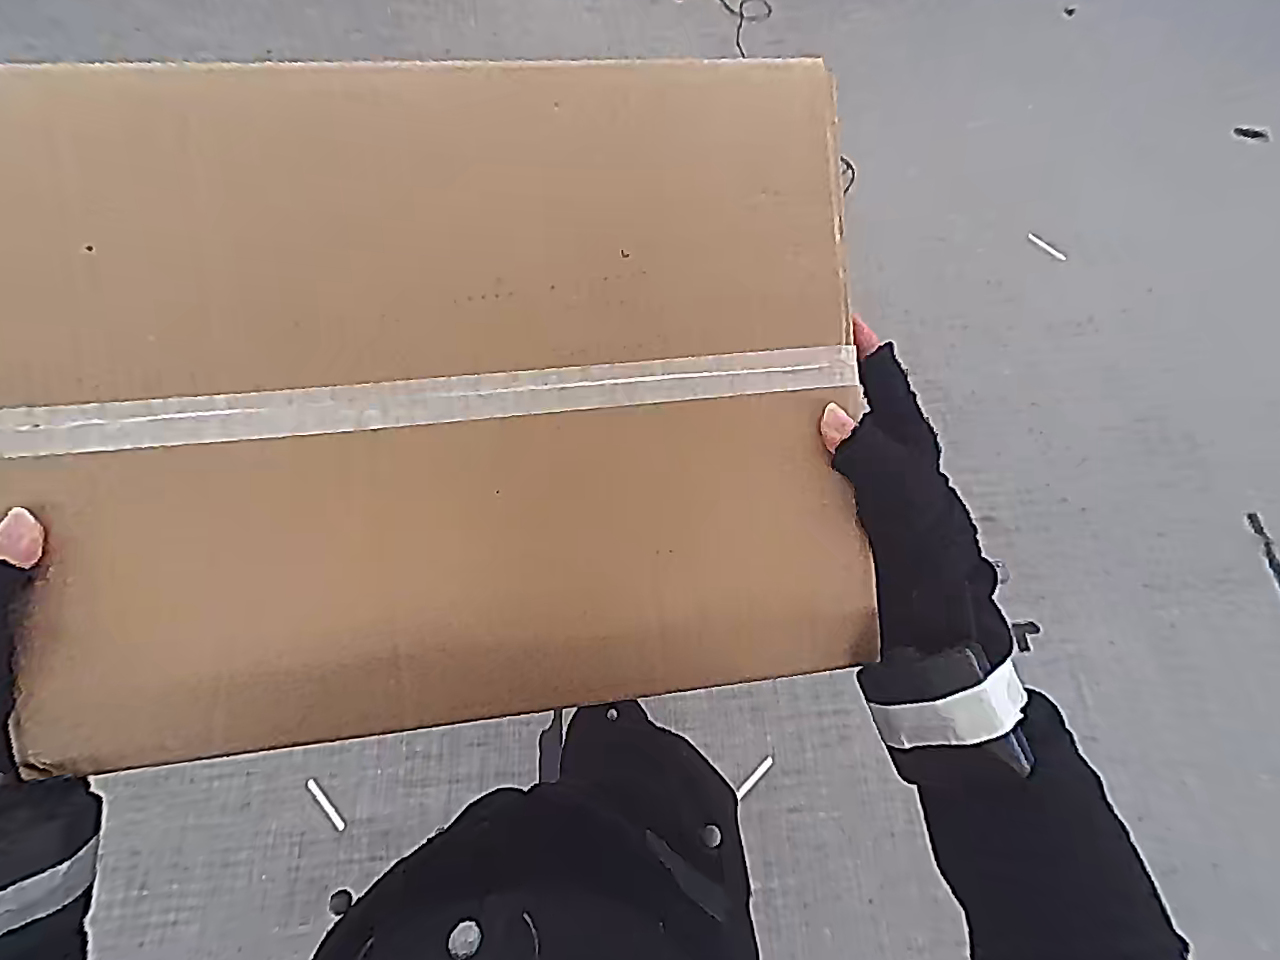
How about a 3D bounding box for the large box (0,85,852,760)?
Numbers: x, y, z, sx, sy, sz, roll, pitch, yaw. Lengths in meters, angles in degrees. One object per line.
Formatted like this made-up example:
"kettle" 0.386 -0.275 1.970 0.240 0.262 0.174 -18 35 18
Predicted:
"large box" -0.106 -0.043 0.418 0.408 0.320 0.320 -5 91 -6
